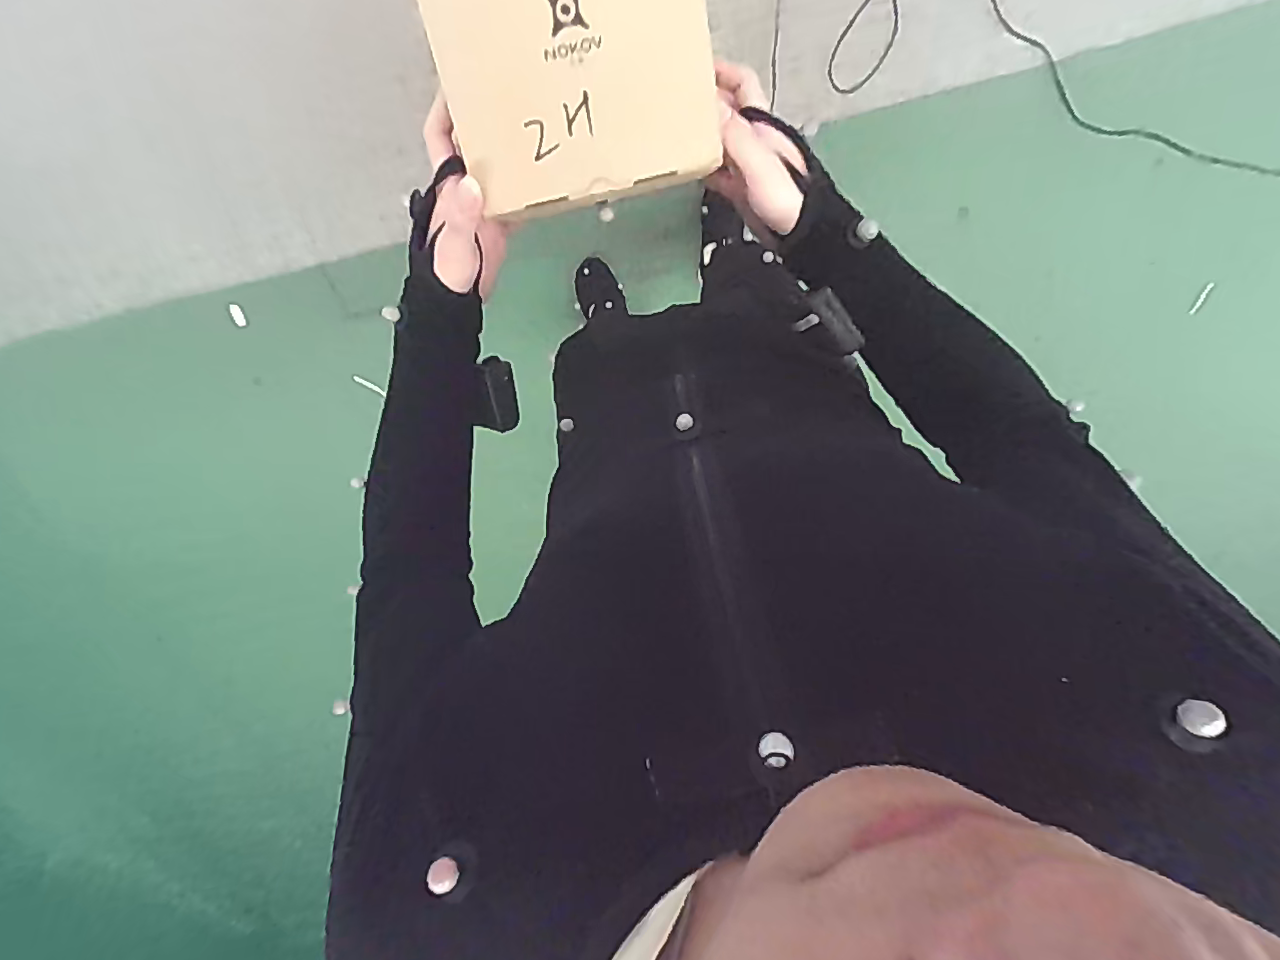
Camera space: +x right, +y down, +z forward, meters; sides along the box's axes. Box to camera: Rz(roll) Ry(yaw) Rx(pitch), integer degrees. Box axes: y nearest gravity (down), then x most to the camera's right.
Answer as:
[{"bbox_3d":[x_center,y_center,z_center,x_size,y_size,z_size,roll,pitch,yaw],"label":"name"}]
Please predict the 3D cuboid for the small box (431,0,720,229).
[{"bbox_3d":[-0.042,-0.297,0.406,0.168,0.176,0.179,-10,114,3],"label":"small box"}]
